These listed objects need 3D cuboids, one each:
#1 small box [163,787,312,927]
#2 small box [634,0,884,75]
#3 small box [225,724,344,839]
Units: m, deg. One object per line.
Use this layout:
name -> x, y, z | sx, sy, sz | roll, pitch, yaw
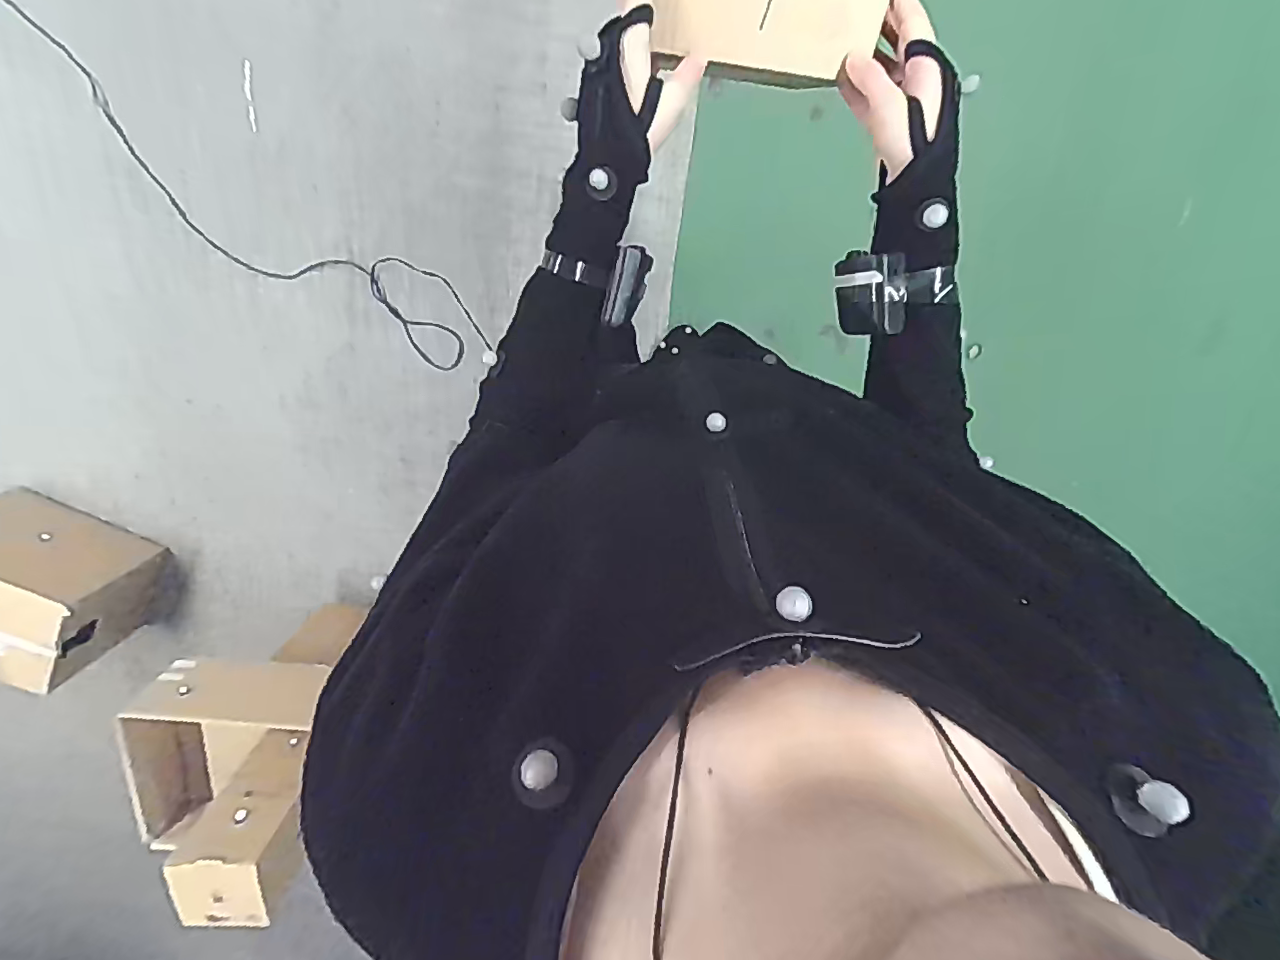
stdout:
small box -> -0.793, 0.749, 1.085 | 0.168, 0.176, 0.179 | 4, 109, -3
small box -> 0.087, -0.421, 0.399 | 0.168, 0.176, 0.179 | 3, 125, -6
small box -> -0.802, 0.694, 1.240 | 0.168, 0.176, 0.179 | 5, 109, -5
